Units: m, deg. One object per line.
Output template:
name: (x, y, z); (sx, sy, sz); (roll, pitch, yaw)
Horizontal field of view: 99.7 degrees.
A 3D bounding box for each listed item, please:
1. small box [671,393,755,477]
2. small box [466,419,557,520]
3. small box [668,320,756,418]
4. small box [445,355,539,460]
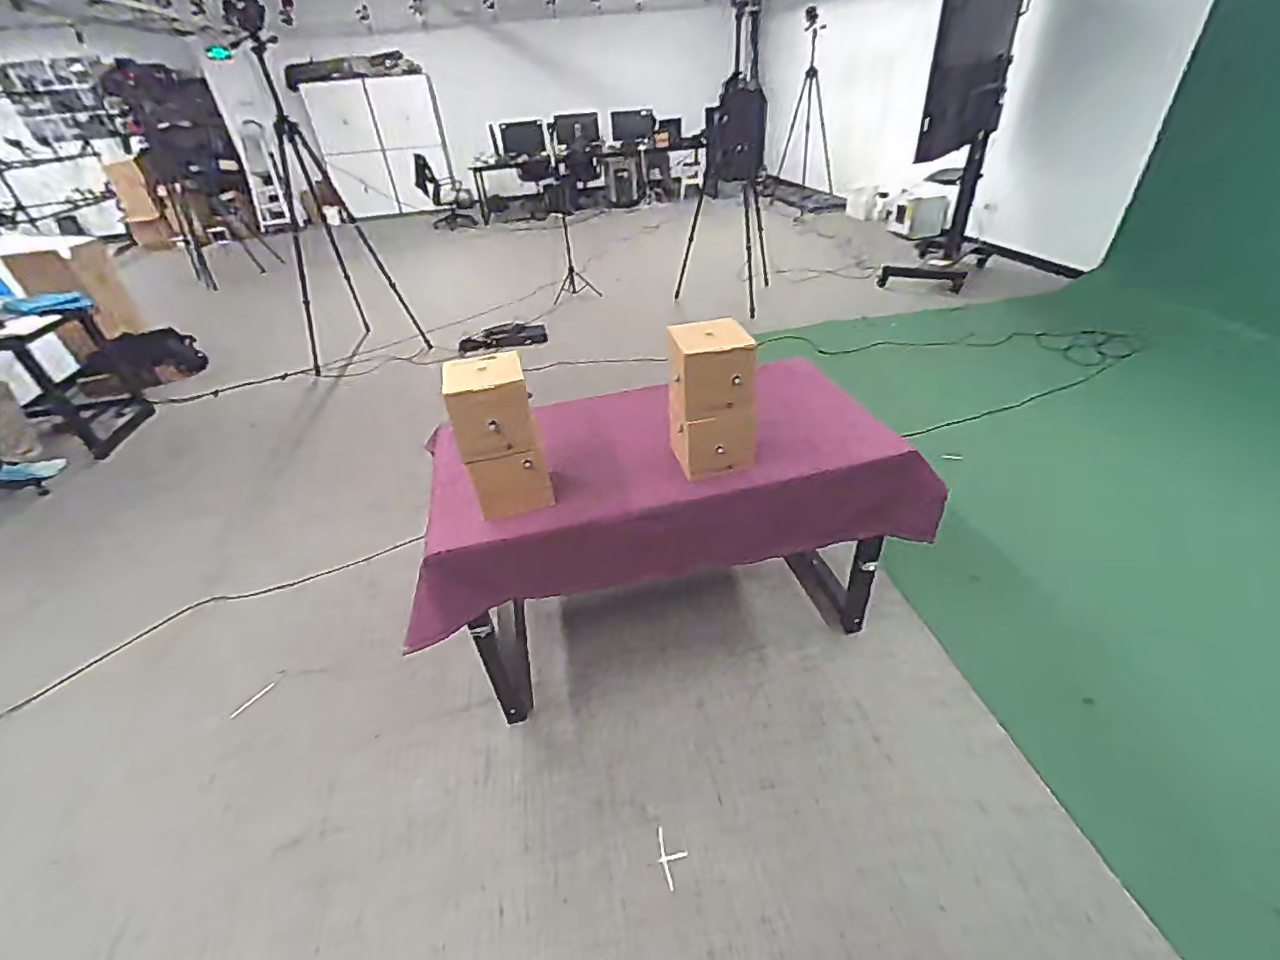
small box: (0.182, -0.121, 1.360); (0.168, 0.176, 0.179); (-11, 36, -7)
small box: (-0.308, -0.023, 1.300); (0.179, 0.176, 0.168); (-12, 36, -10)
small box: (0.167, -0.255, 1.268); (0.168, 0.176, 0.179); (-10, 35, -5)
small box: (-0.327, -0.157, 1.206); (0.168, 0.176, 0.179); (-12, 36, -10)
